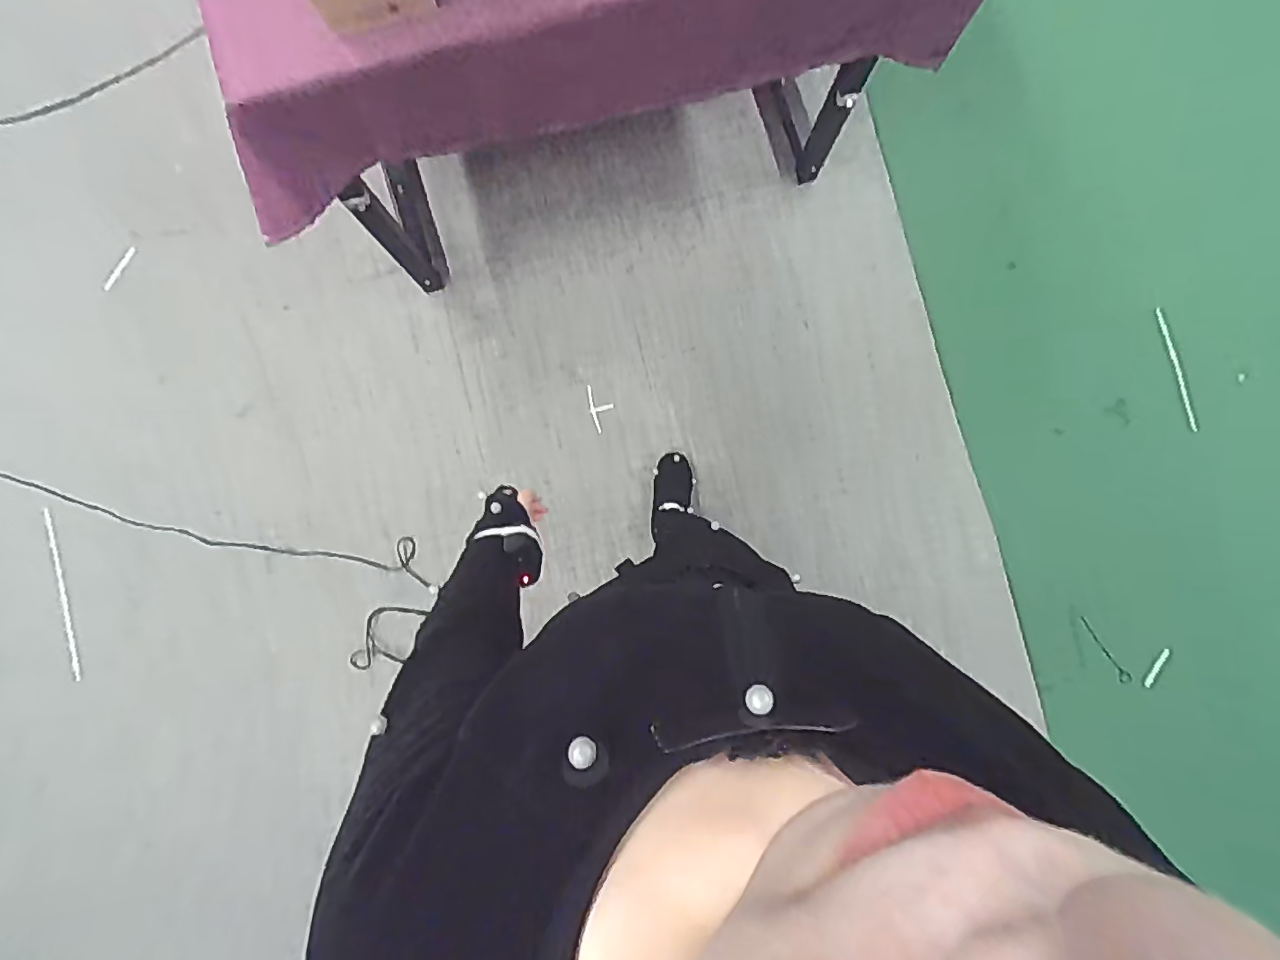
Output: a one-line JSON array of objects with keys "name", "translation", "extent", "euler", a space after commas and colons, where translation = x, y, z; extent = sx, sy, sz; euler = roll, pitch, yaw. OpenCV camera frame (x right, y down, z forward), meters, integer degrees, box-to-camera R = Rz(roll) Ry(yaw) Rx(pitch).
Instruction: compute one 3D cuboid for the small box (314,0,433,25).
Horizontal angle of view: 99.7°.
[{"name": "small box", "translation": [-0.408, -0.780, 0.747], "extent": [0.168, 0.176, 0.179], "euler": [-16, 85, -2]}]
